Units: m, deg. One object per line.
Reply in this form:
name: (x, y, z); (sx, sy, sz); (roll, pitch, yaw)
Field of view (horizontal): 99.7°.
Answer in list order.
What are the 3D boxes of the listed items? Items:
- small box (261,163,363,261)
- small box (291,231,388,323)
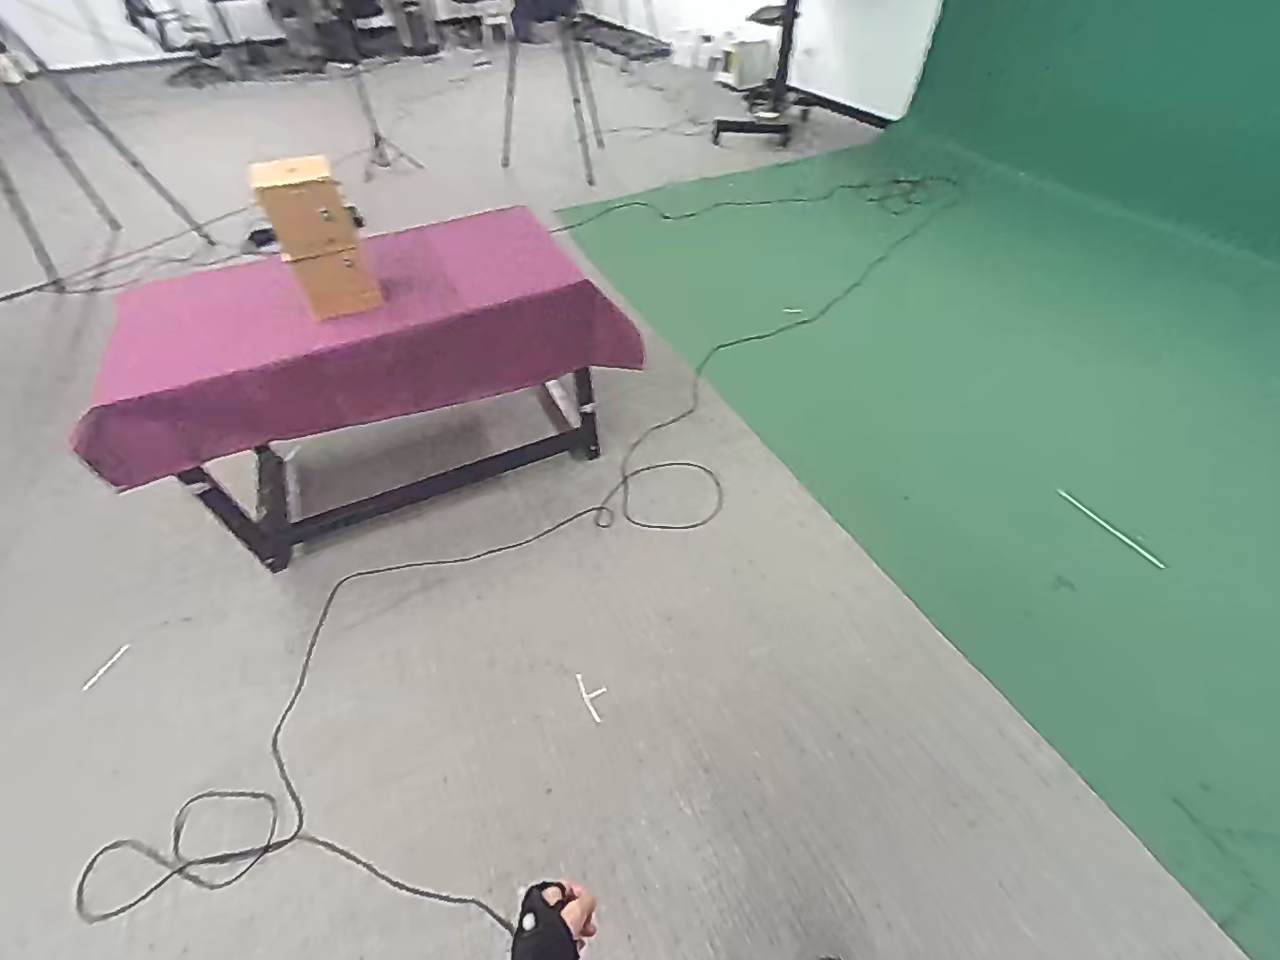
small box: (-0.806, -0.659, 1.340); (0.168, 0.176, 0.179); (-20, 49, -17)
small box: (-0.808, -0.547, 1.458); (0.179, 0.176, 0.168); (-19, 49, -16)
